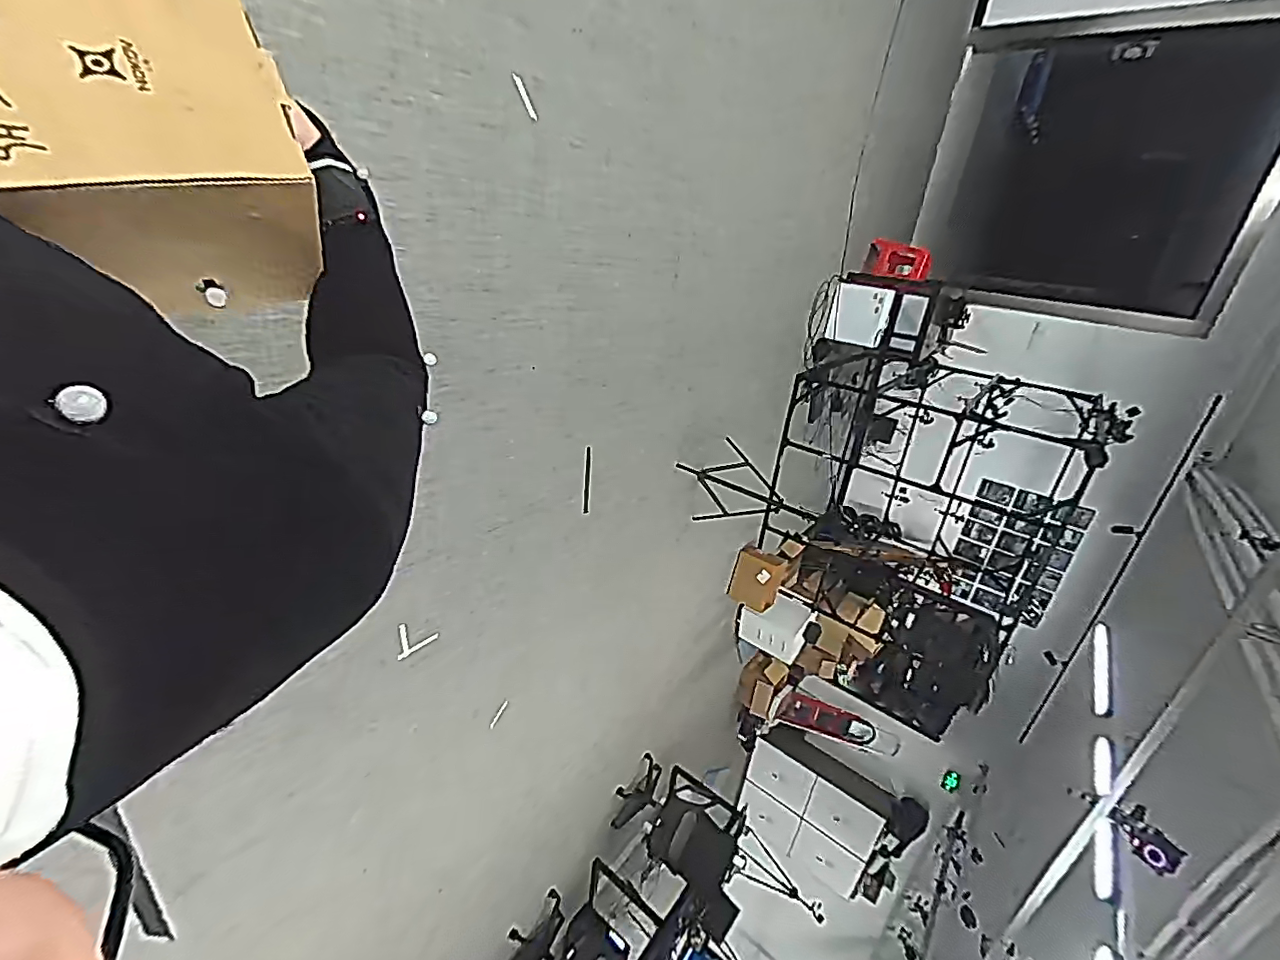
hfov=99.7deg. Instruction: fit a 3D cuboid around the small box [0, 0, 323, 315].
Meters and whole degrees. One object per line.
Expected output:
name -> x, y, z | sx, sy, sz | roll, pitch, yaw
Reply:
small box -> -0.375, -0.253, 0.431 | 0.179, 0.176, 0.168 | -21, 87, -31
